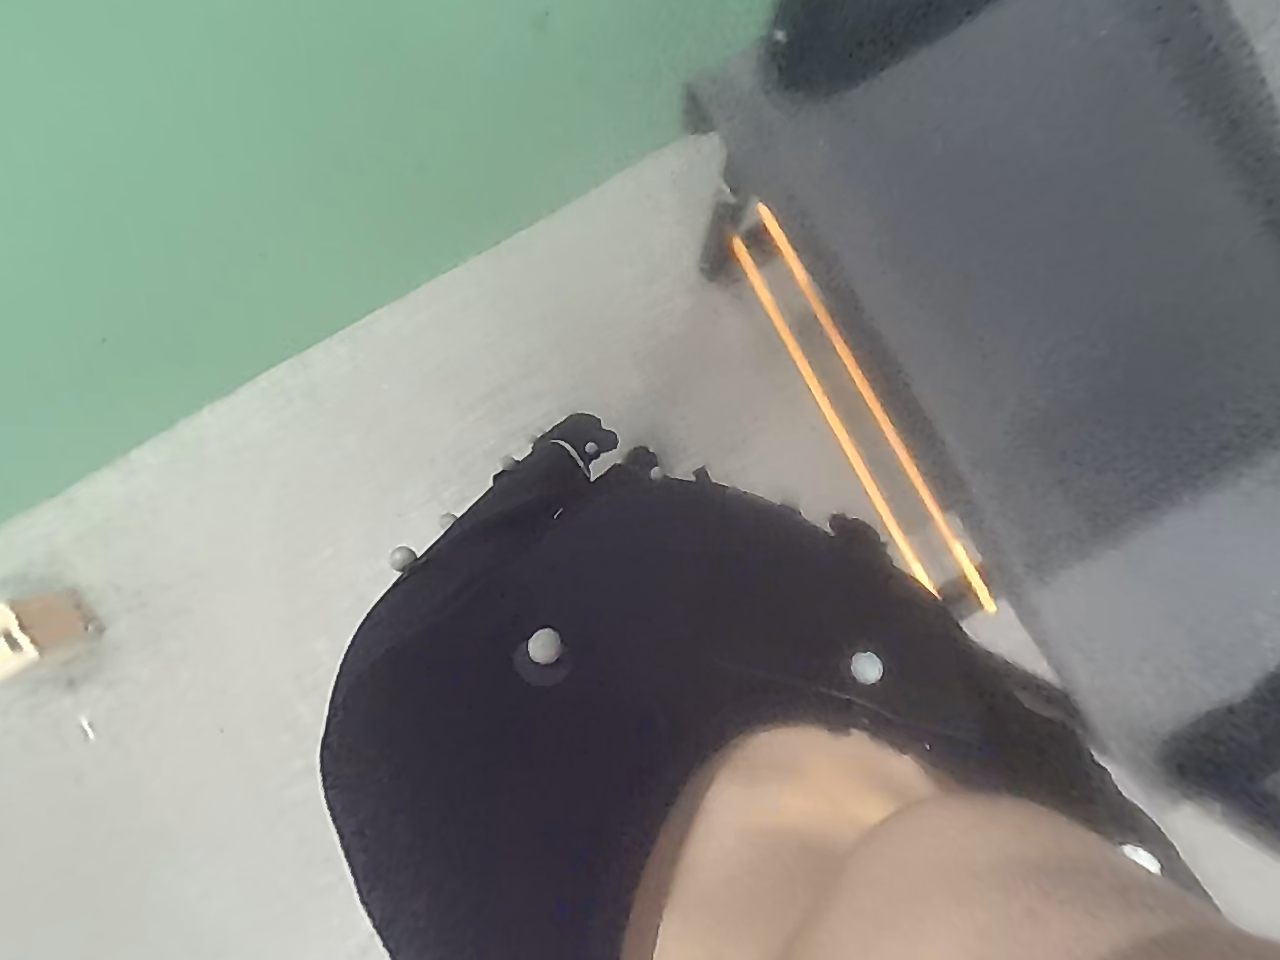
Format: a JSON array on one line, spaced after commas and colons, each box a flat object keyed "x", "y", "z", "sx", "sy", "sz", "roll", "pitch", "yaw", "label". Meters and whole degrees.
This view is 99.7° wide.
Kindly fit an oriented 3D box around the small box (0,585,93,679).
[{"x": -1.602, "y": 0.395, "z": 1.413, "sx": 0.179, "sy": 0.176, "sz": 0.168, "roll": -30, "pitch": 90, "yaw": 1, "label": "small box"}]
